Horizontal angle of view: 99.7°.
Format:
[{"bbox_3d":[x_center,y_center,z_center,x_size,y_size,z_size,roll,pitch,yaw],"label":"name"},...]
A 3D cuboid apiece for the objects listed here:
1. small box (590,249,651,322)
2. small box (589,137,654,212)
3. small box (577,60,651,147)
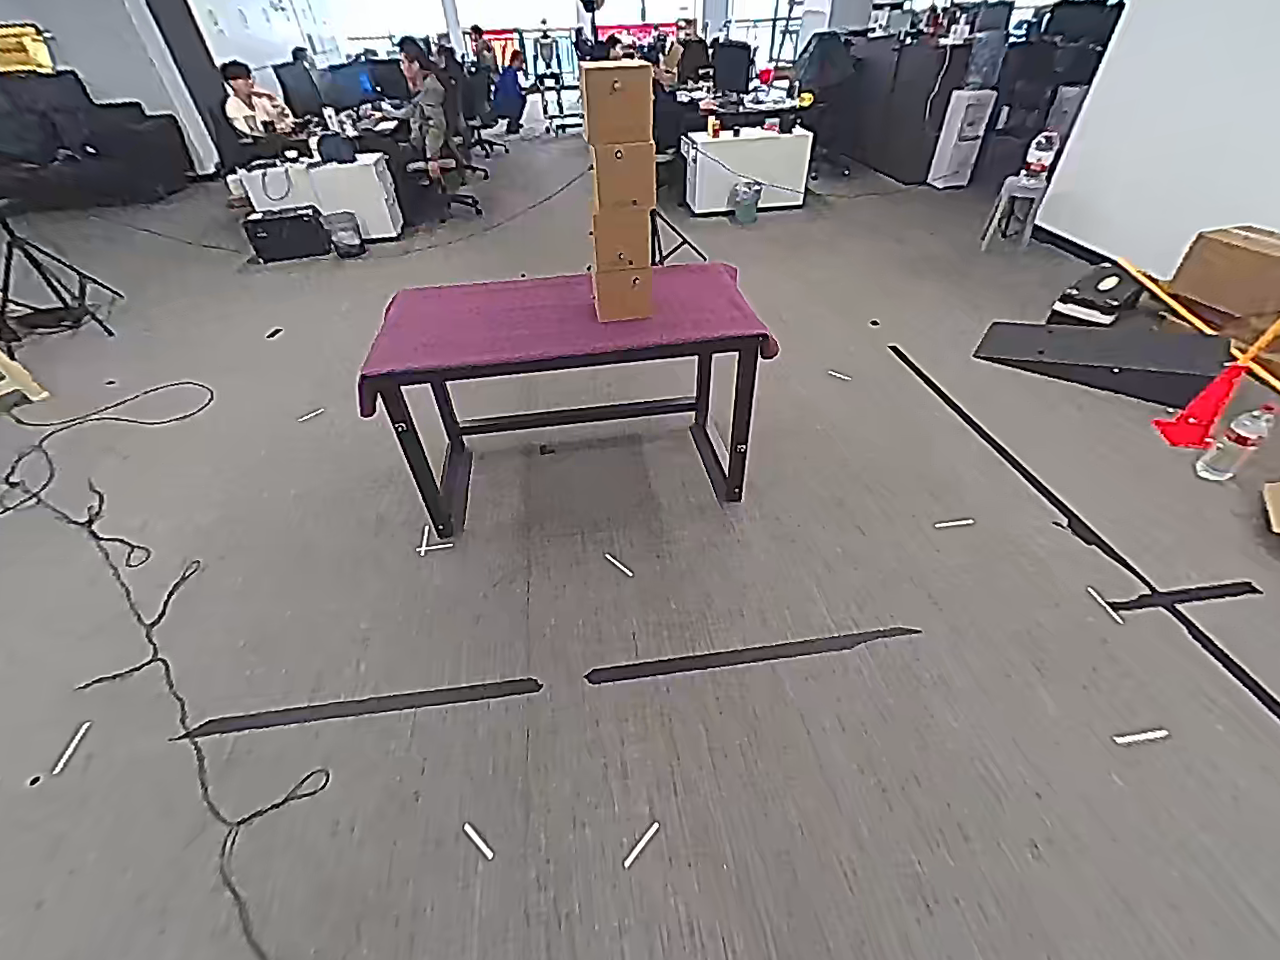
[{"bbox_3d":[-0.062,-0.633,1.762,0.179,0.176,0.168,-8,41,-5],"label":"small box"},{"bbox_3d":[-0.055,-0.880,1.547,0.168,0.176,0.179,-8,42,-6],"label":"small box"},{"bbox_3d":[-0.069,-1.009,1.447,0.179,0.176,0.168,-9,42,-6],"label":"small box"}]
